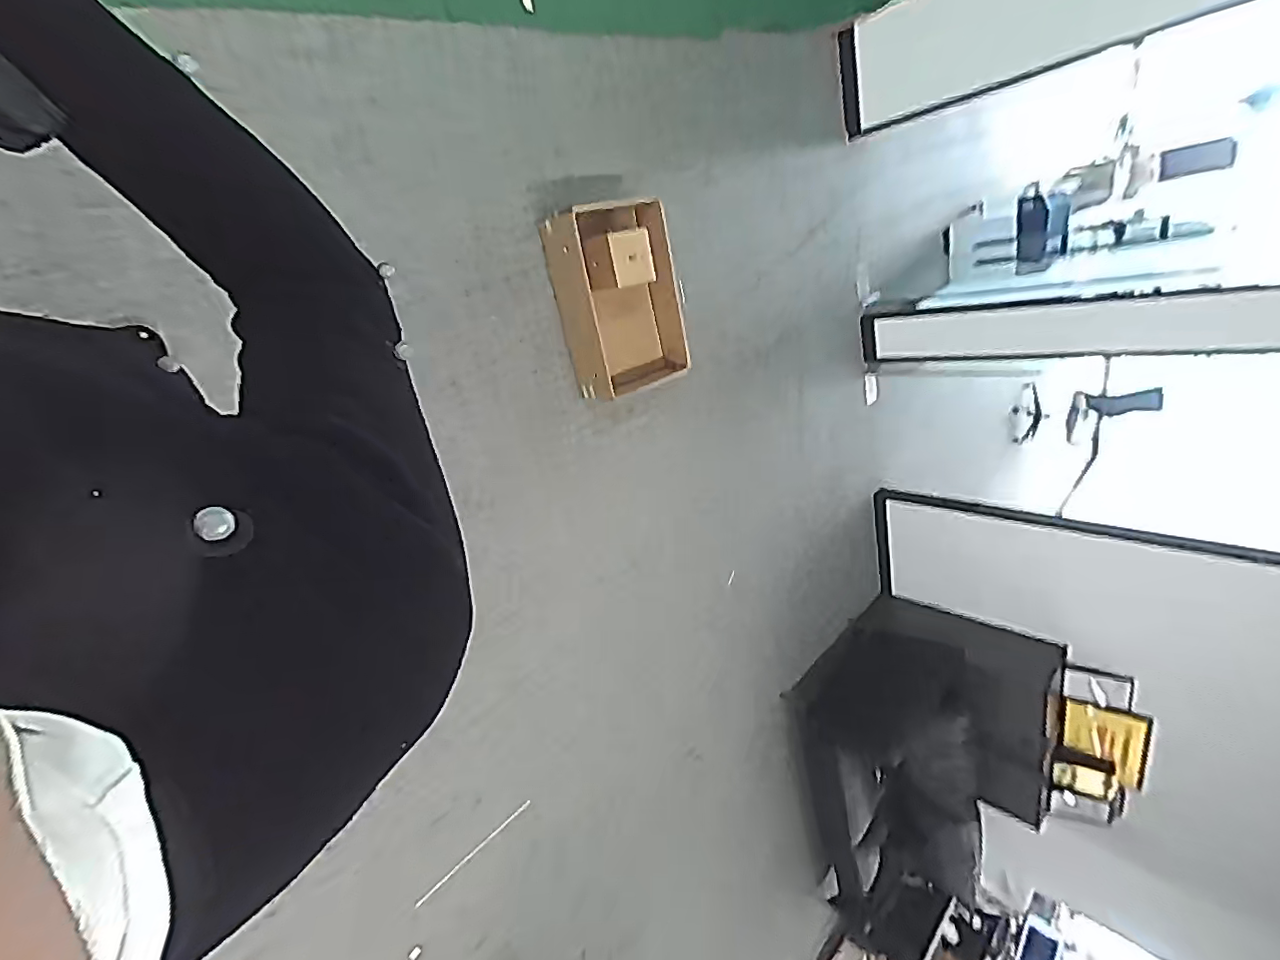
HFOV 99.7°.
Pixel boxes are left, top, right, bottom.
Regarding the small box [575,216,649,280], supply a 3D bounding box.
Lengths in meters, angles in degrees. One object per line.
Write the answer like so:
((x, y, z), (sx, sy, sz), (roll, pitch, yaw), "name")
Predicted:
((-0.101, -0.785, 1.836), (0.179, 0.176, 0.168), (-29, 119, -34), "small box")
